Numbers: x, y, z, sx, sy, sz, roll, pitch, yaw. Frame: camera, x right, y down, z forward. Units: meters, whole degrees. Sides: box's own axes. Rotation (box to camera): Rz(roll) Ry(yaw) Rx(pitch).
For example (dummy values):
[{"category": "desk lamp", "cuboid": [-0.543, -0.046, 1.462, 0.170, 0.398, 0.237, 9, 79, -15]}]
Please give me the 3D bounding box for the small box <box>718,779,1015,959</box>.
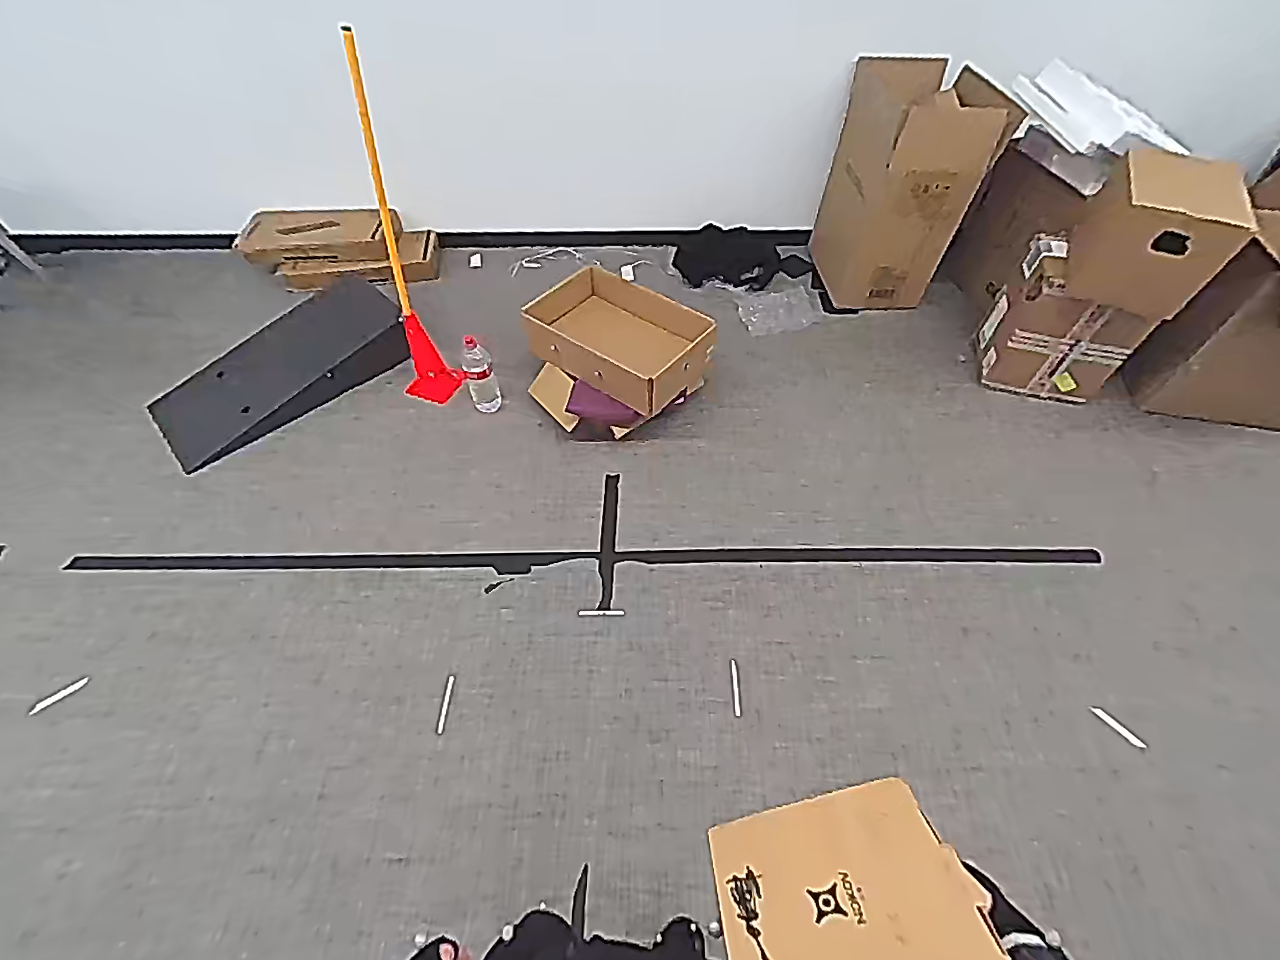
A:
[{"category": "small box", "cuboid": [0.175, 0.381, 0.422, 0.179, 0.176, 0.168, -17, 16, 4]}]
